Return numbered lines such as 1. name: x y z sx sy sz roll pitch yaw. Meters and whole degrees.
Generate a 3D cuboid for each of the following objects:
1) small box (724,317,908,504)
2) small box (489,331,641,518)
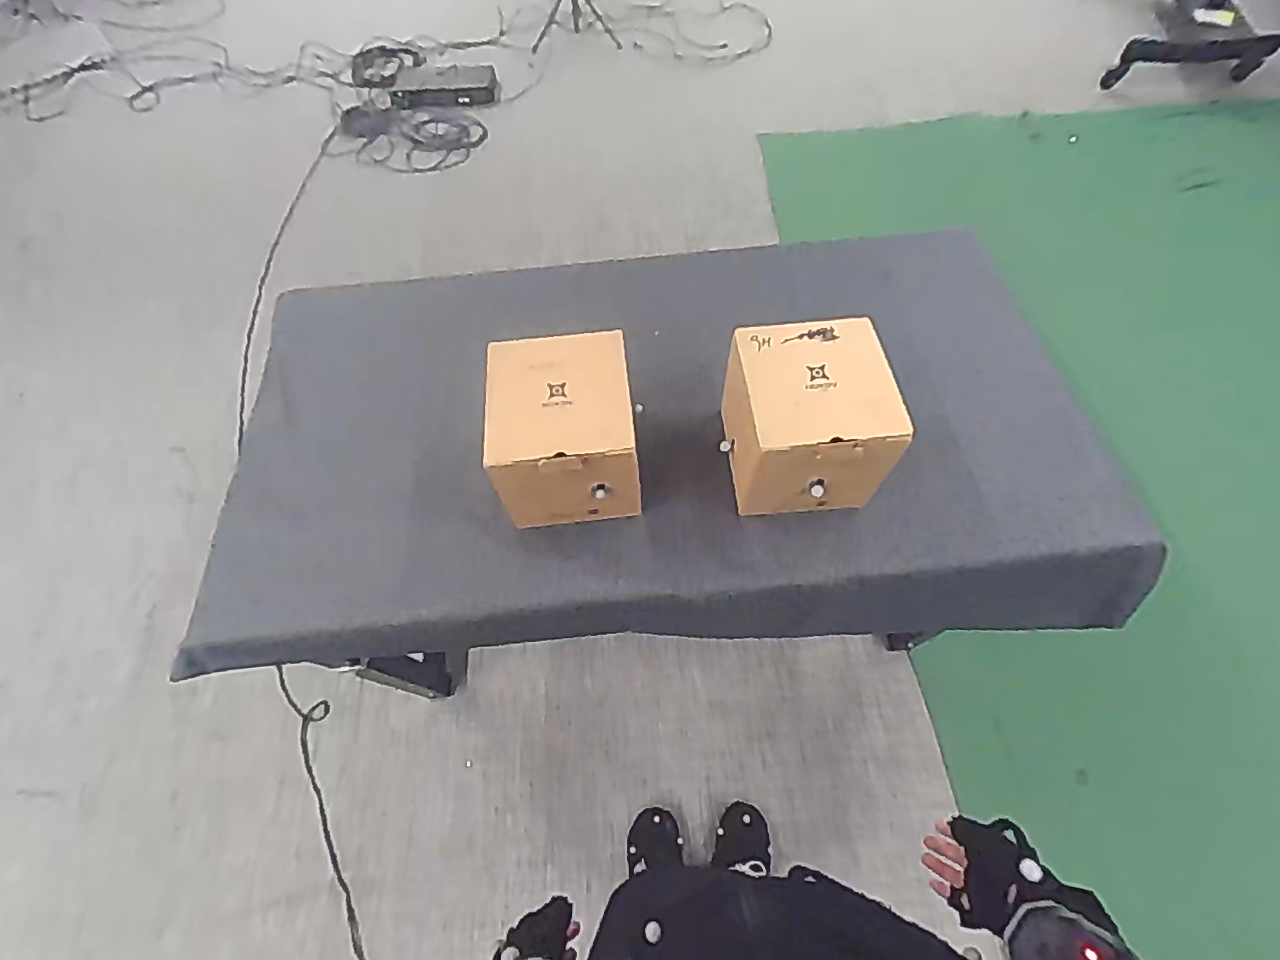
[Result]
1. small box: 0.206 -0.078 0.688 0.168 0.176 0.179 -5 62 0
2. small box: -0.089 -0.061 0.693 0.168 0.176 0.179 -6 60 -3
